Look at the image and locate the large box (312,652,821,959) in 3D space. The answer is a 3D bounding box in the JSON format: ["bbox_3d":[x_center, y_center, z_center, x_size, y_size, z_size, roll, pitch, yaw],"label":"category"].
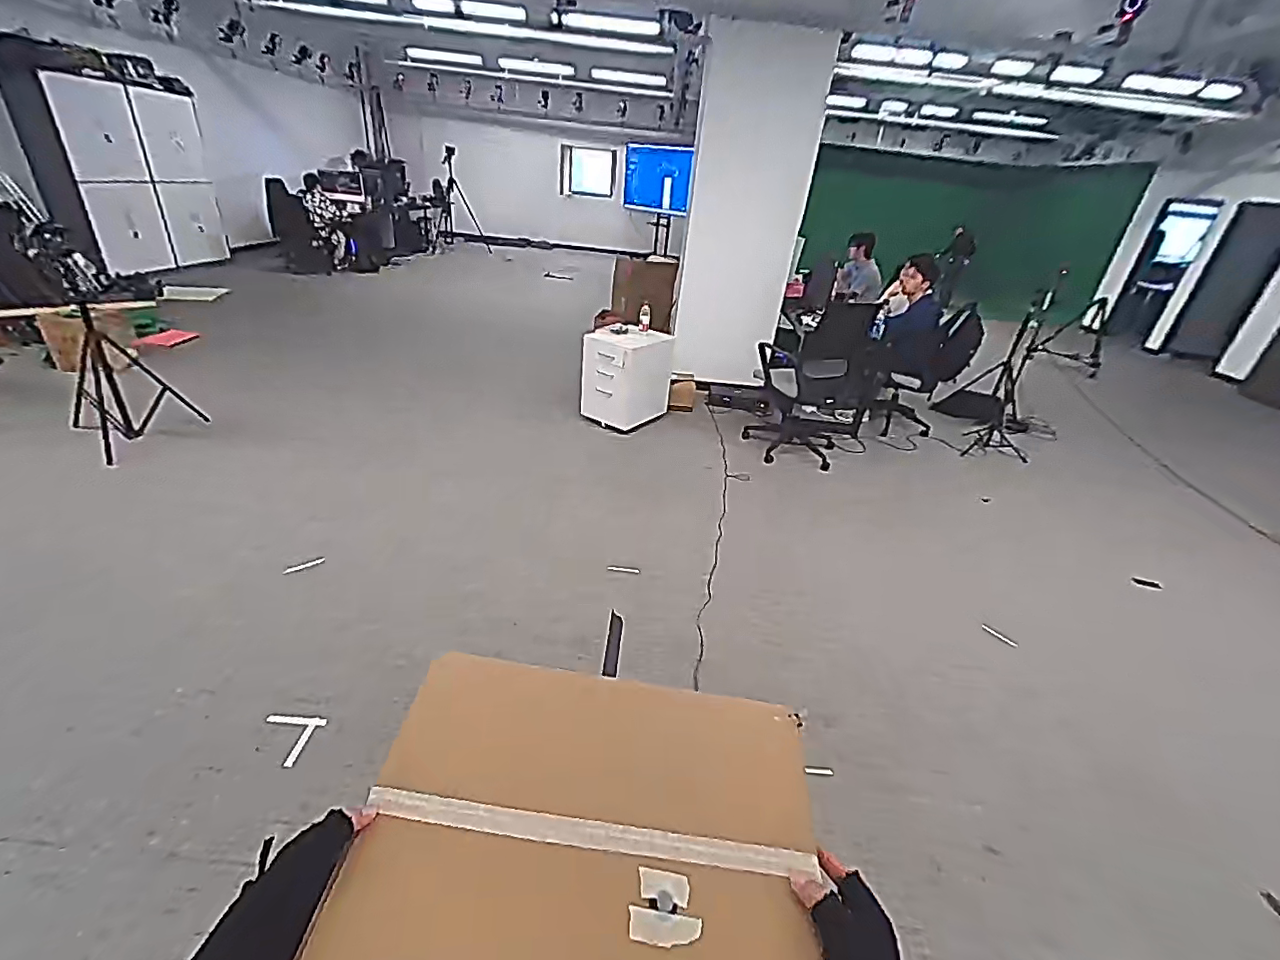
[{"bbox_3d":[-0.060,0.432,0.589,0.408,0.320,0.320,9,39,0],"label":"large box"}]
